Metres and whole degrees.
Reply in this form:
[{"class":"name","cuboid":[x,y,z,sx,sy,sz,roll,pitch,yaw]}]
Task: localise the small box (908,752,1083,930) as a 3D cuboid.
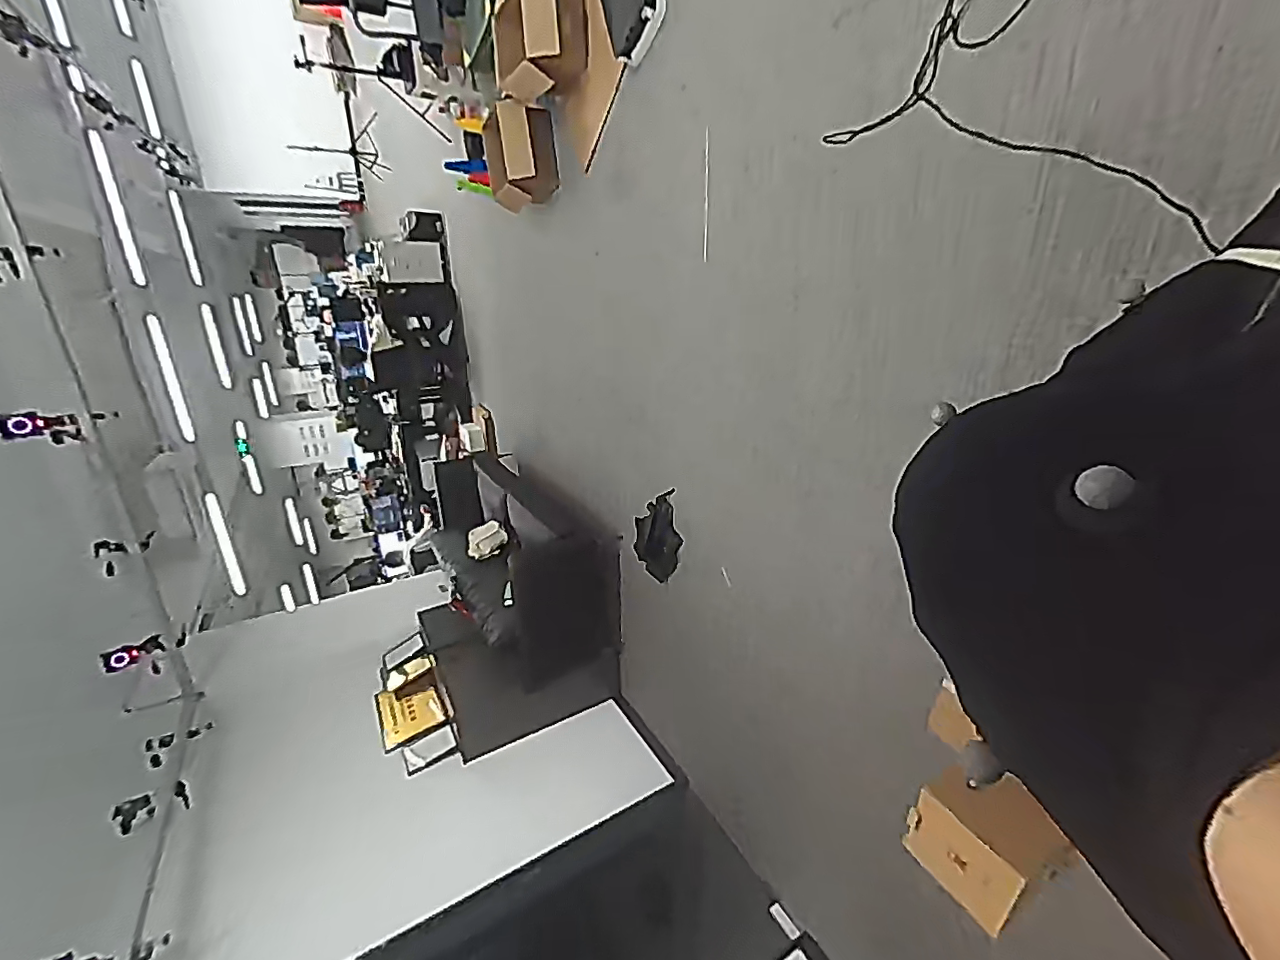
[{"class":"small box","cuboid":[0.611,0.609,0.941,0.179,0.176,0.168,36,133,52]}]
